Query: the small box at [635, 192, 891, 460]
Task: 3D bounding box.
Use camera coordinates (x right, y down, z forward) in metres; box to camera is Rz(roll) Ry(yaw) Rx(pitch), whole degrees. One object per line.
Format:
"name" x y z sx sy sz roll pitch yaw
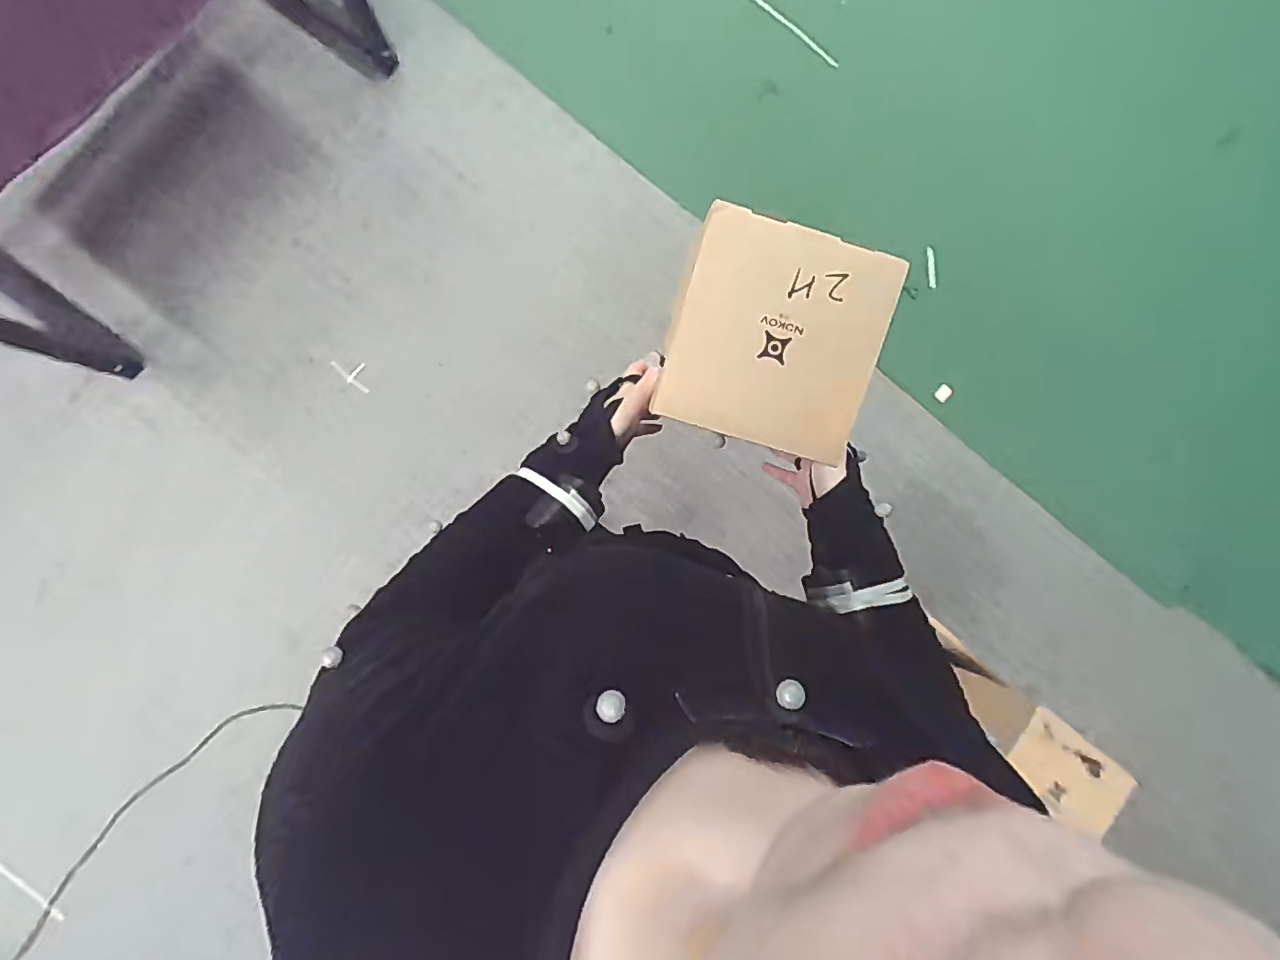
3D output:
"small box" 0.098 -0.132 0.513 0.168 0.176 0.179 16 98 -3
